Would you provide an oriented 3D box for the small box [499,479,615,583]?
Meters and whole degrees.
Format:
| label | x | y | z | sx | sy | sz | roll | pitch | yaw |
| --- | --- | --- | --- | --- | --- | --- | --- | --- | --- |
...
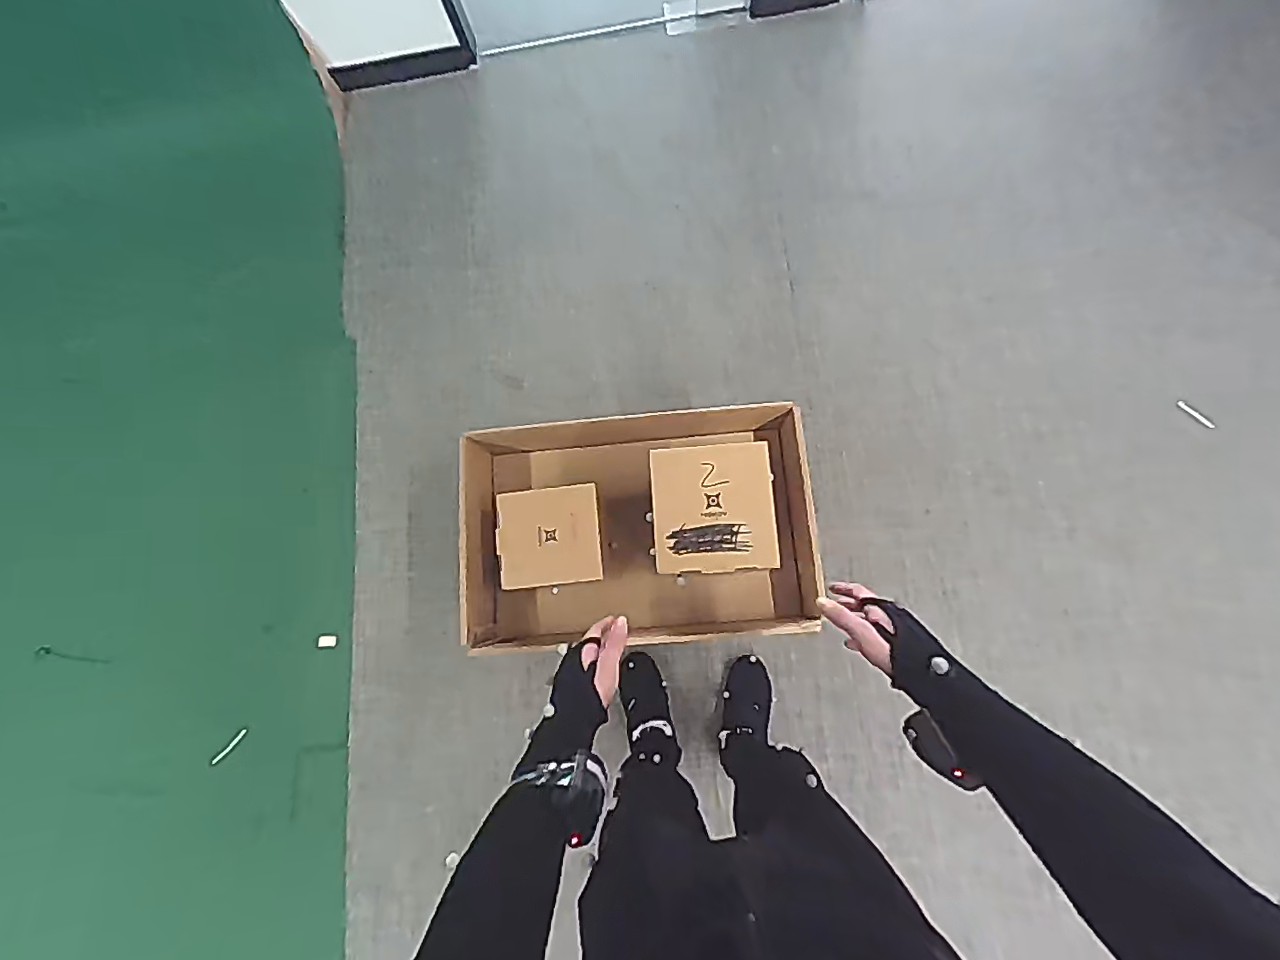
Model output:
| label | x | y | z | sx | sy | sz | roll | pitch | yaw |
| --- | --- | --- | --- | --- | --- | --- | --- | --- | --- |
| small box | -0.147 | 0.100 | 0.992 | 0.179 | 0.176 | 0.168 | -6 | 79 | 3 |
